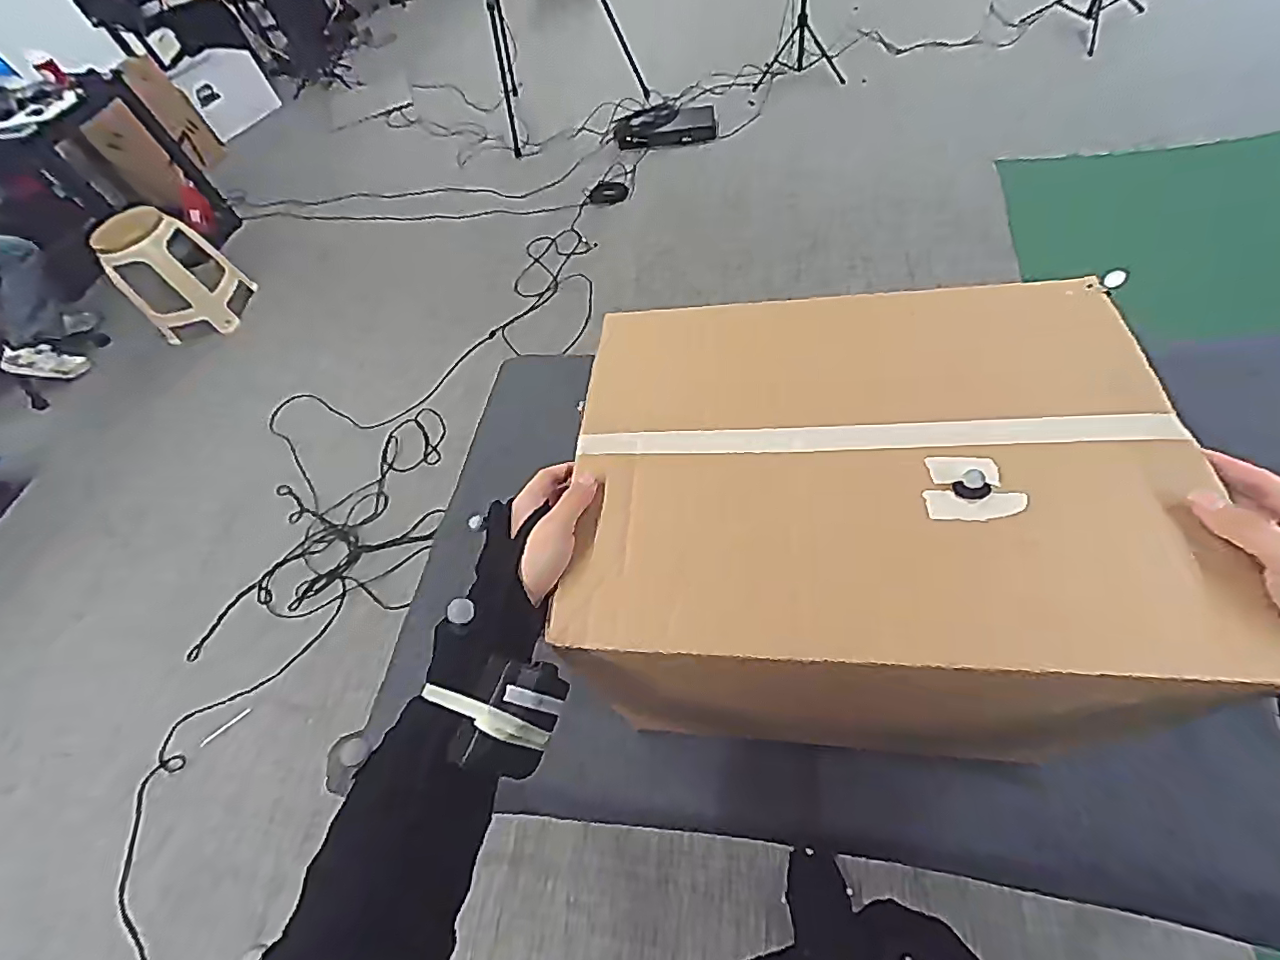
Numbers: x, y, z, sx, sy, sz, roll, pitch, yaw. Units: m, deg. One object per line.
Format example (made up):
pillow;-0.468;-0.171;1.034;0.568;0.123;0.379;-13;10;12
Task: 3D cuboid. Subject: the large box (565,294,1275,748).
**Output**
large box;0.177;0.057;0.521;0.408;0.320;0.320;0;57;10
